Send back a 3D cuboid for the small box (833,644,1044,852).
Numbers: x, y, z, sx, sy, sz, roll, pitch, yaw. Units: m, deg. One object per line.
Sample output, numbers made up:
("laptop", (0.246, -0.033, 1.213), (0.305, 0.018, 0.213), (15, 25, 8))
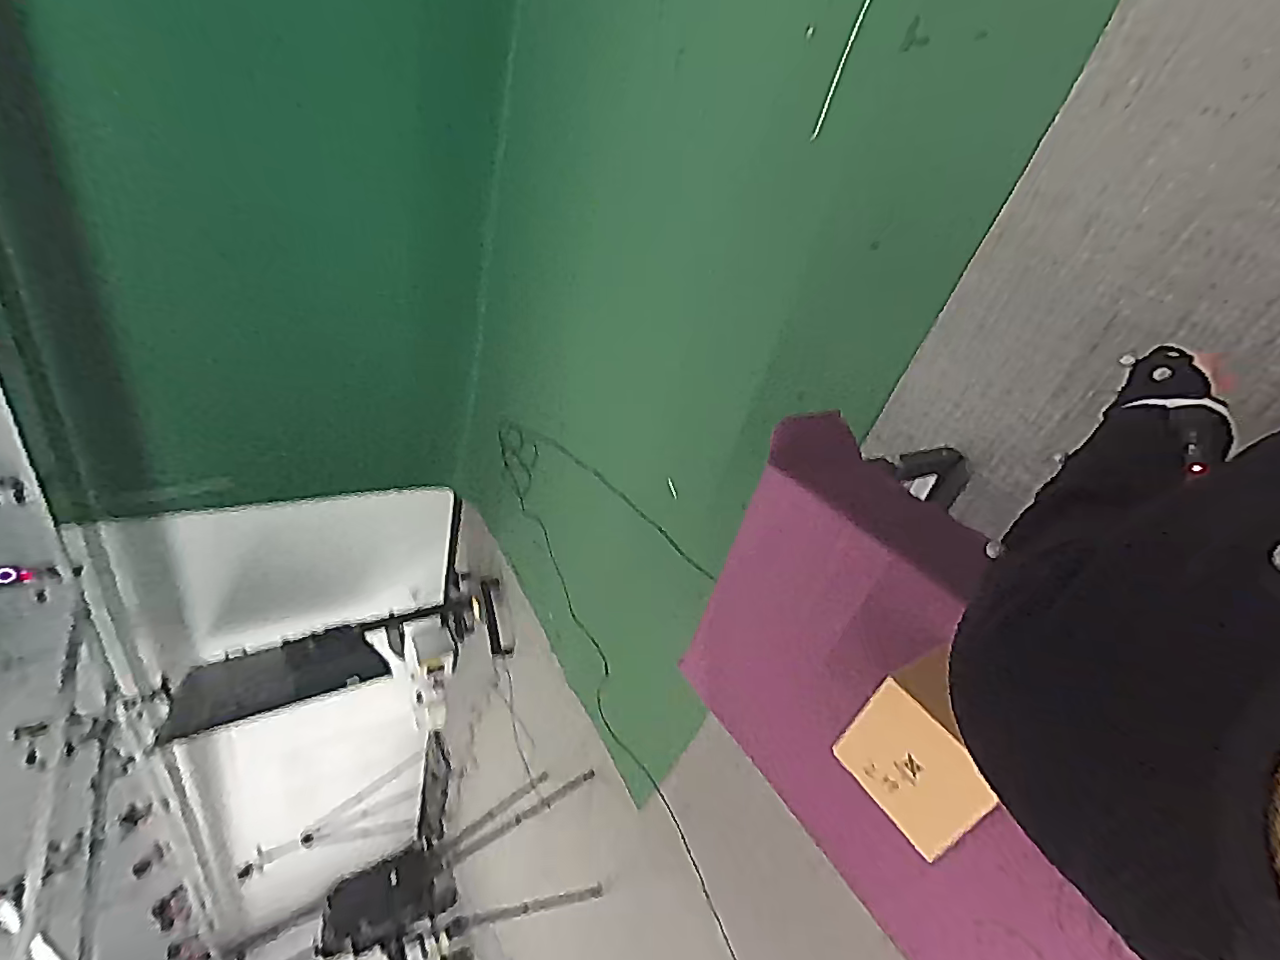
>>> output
("small box", (0.413, 0.357, 0.749), (0.168, 0.176, 0.179), (48, 132, 40))
